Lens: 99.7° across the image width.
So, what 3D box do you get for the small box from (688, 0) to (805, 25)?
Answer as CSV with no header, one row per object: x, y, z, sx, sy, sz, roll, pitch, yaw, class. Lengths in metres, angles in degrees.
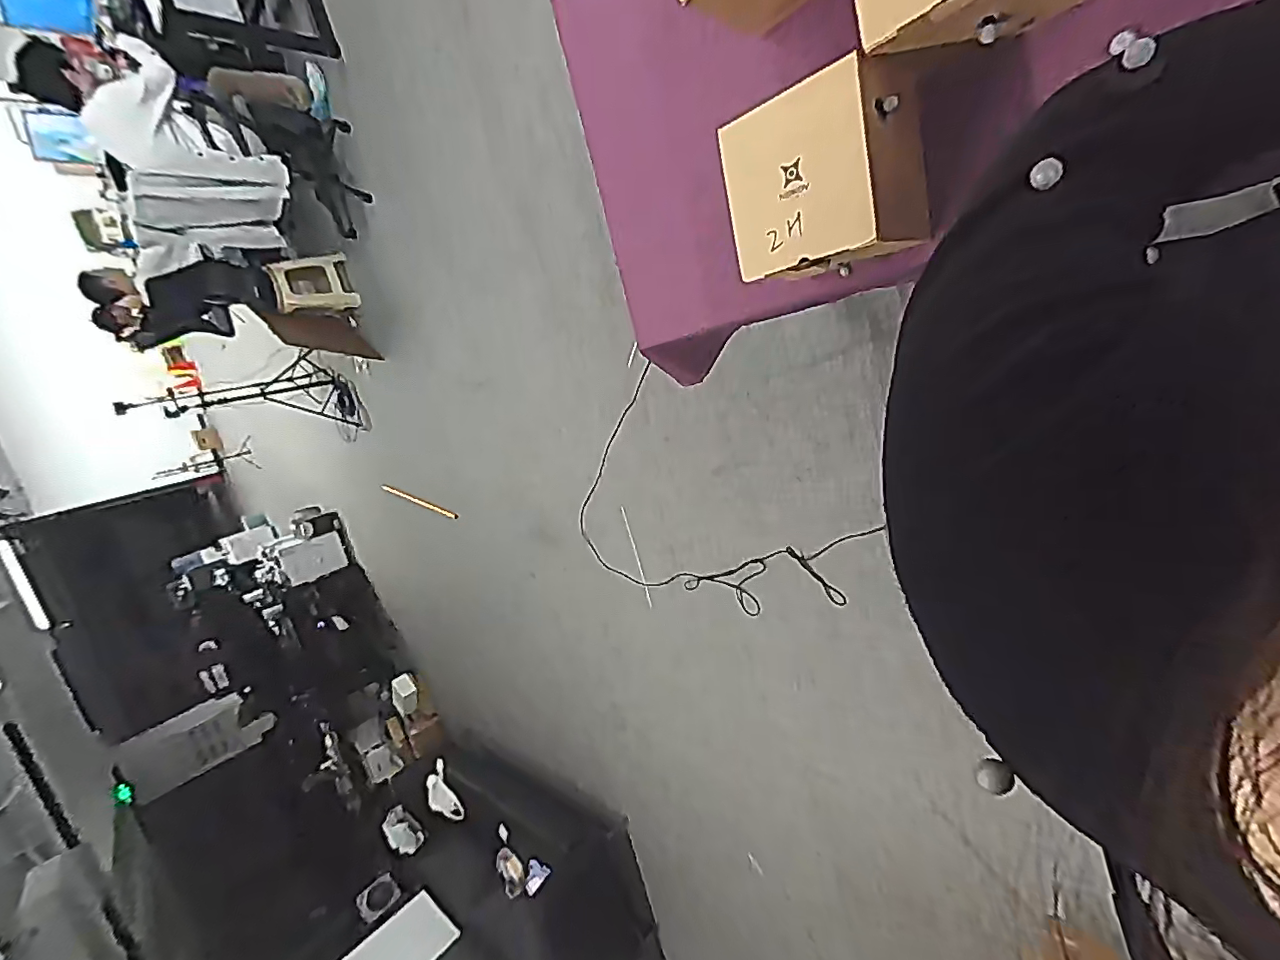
0.144,-0.647,0.593,0.168,0.176,0.179,-4,106,46,small box

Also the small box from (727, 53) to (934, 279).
0.230,-0.350,0.641,0.168,0.176,0.179,1,109,47,small box
